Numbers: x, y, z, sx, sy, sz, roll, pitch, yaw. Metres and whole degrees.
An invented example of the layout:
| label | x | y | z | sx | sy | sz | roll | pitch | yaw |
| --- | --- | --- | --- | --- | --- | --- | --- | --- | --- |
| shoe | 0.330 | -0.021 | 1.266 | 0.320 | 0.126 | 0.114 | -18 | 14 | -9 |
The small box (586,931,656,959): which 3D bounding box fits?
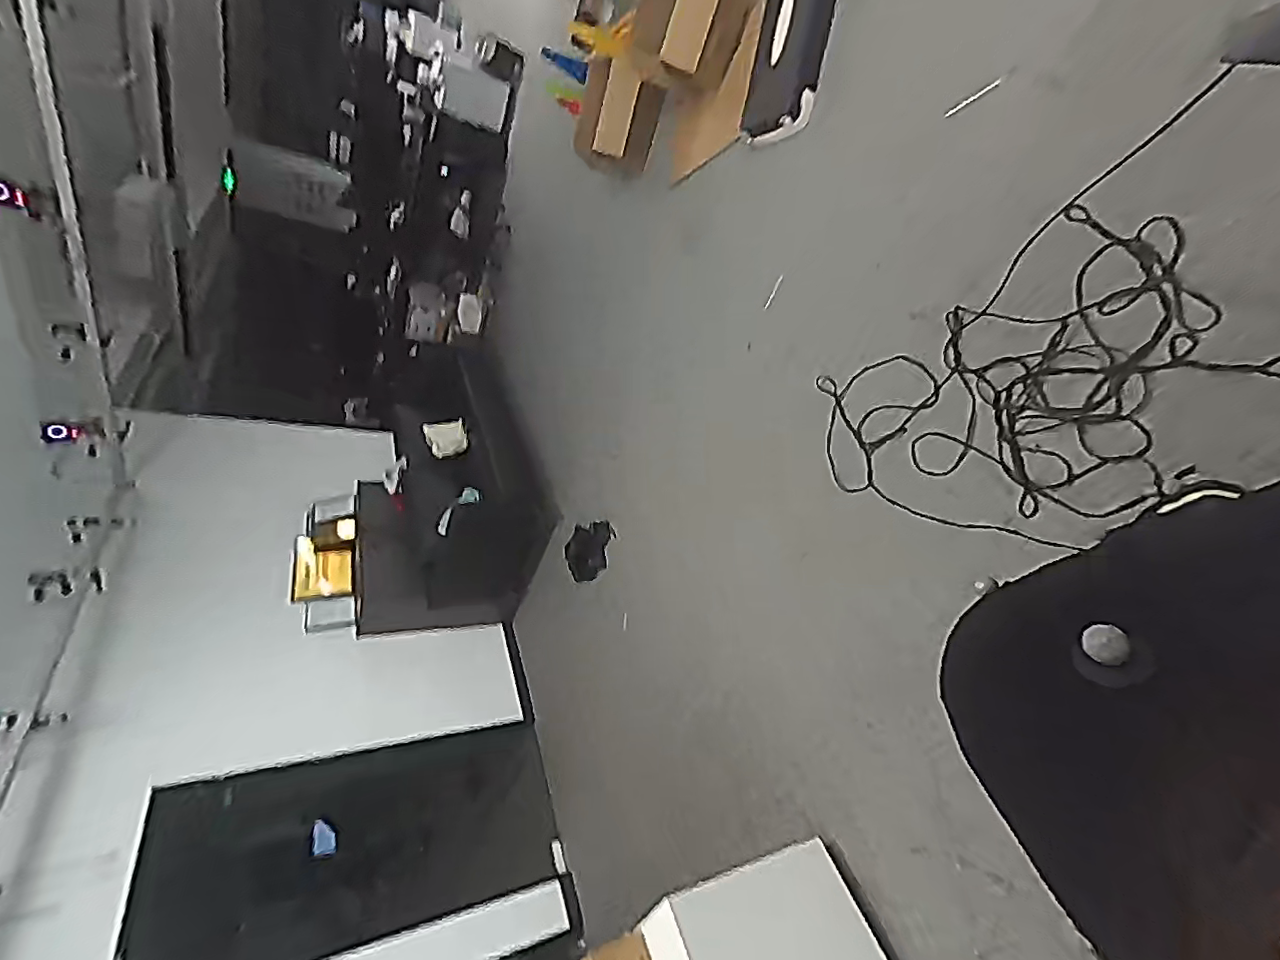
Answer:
| label | x | y | z | sx | sy | sz | roll | pitch | yaw |
| --- | --- | --- | --- | --- | --- | --- | --- | --- | --- |
| small box | -0.049 | 1.305 | 1.386 | 0.168 | 0.176 | 0.179 | 59 | 135 | 44 |
